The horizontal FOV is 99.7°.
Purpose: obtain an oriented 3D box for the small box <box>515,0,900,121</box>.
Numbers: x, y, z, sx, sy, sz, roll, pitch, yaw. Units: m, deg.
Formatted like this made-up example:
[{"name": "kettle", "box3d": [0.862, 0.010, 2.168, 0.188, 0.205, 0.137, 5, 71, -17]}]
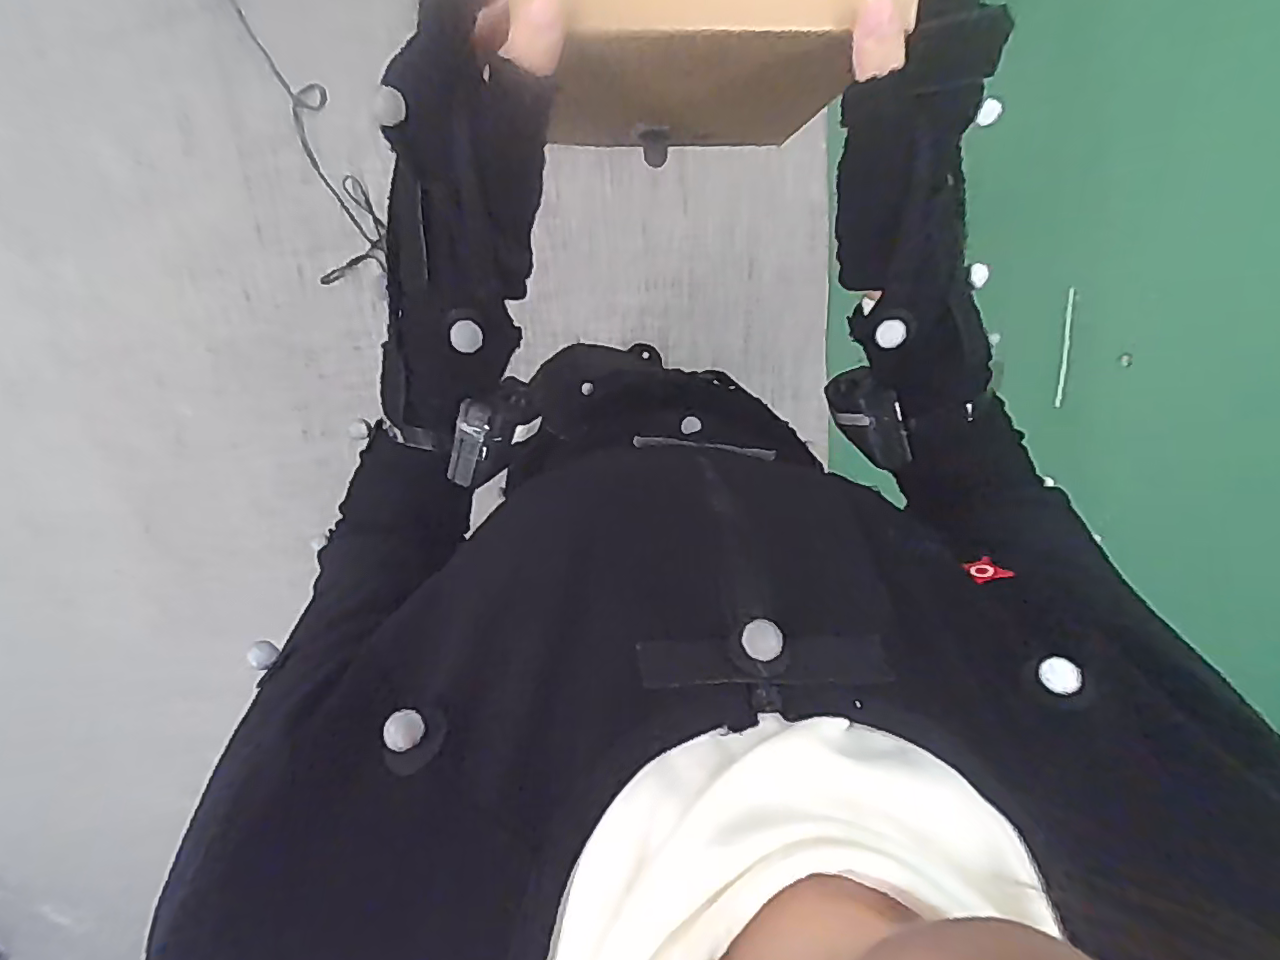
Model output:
[{"name": "small box", "box3d": [0.021, -0.295, 0.251, 0.168, 0.176, 0.179, -3, 109, -4]}]
